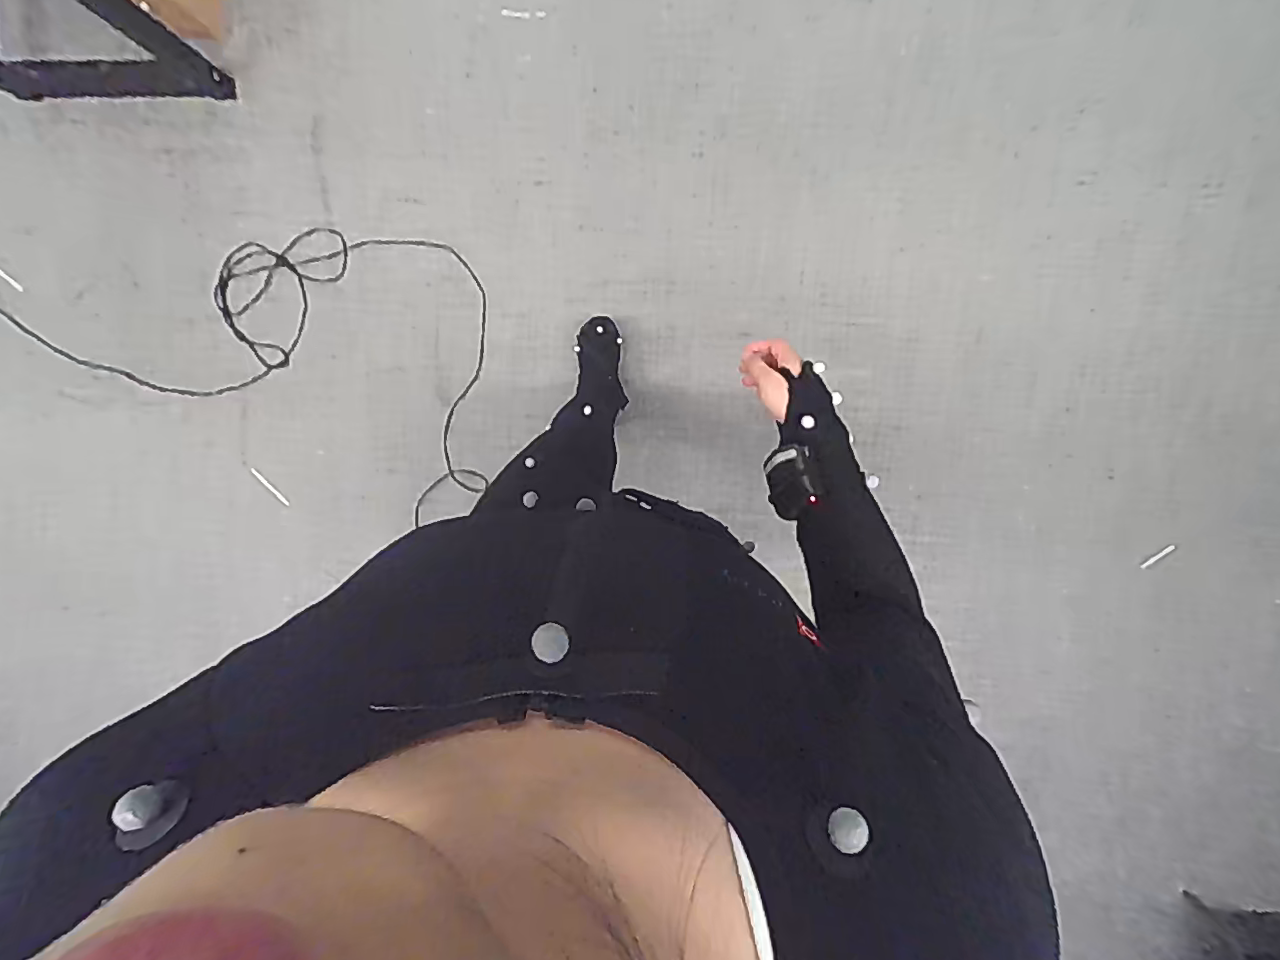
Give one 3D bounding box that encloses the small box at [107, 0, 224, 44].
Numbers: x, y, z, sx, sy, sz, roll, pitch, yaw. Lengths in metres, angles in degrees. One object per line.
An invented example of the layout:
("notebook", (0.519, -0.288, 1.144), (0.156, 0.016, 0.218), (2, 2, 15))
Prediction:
("small box", (-1.129, -1.179, 1.282), (0.179, 0.176, 0.168), (6, 98, 2))
